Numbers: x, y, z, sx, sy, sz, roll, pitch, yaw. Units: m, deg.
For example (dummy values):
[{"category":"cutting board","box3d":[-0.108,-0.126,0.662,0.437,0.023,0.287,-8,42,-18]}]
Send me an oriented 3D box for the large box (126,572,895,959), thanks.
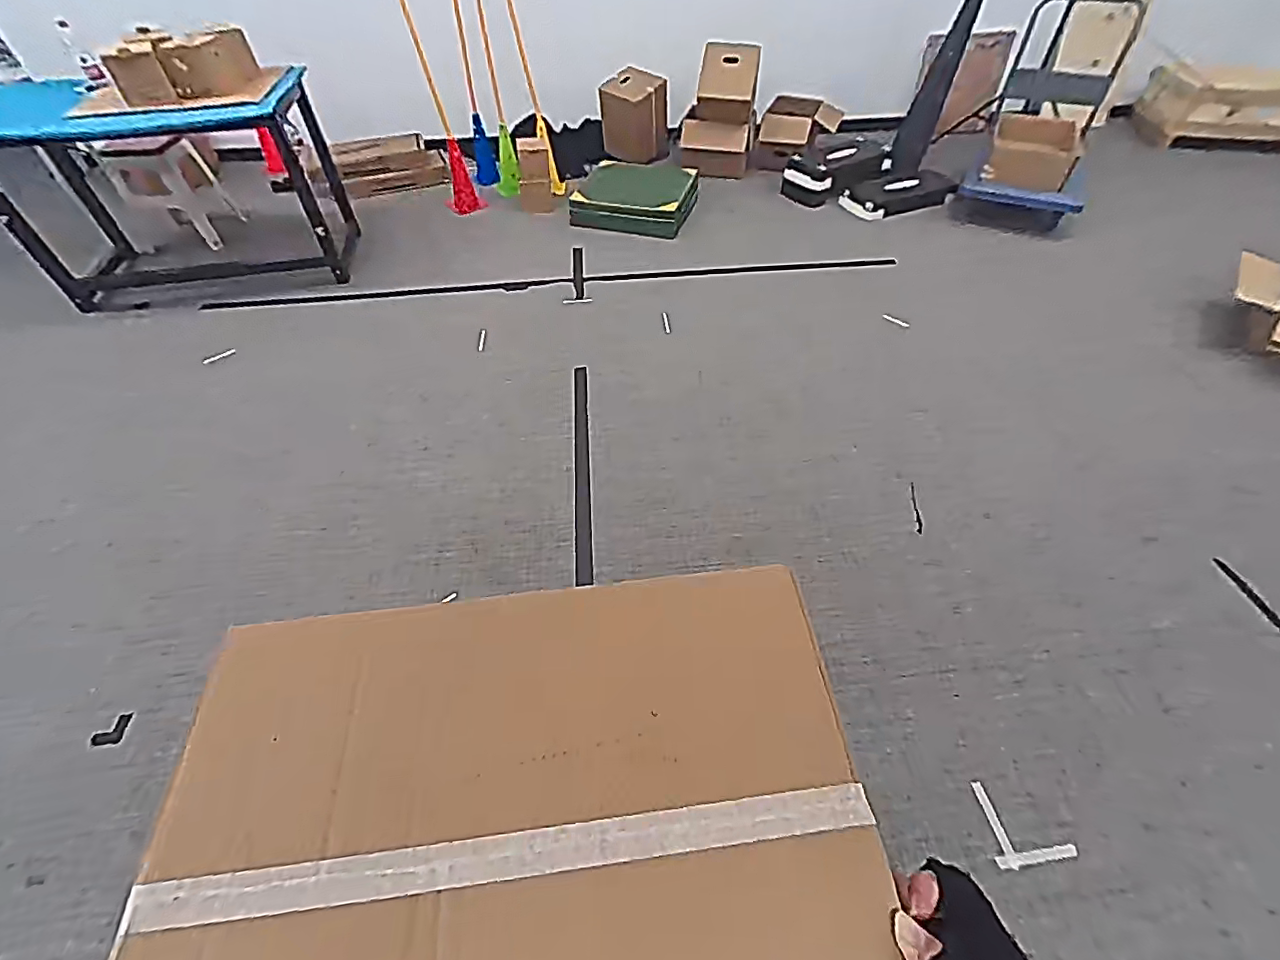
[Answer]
[{"category":"large box","box3d":[-0.070,0.301,0.429,0.408,0.320,0.320,-6,53,-3]}]
